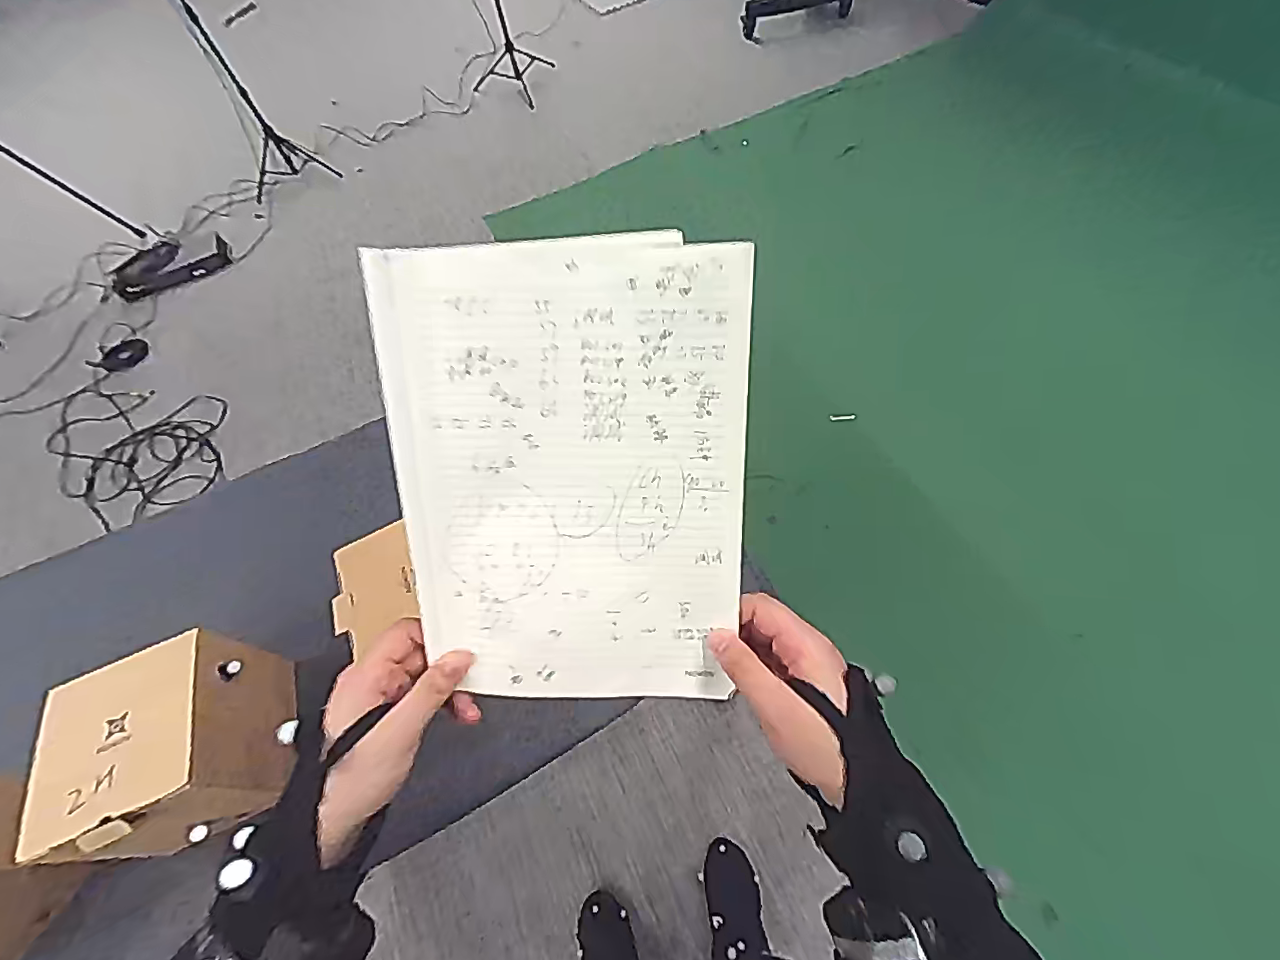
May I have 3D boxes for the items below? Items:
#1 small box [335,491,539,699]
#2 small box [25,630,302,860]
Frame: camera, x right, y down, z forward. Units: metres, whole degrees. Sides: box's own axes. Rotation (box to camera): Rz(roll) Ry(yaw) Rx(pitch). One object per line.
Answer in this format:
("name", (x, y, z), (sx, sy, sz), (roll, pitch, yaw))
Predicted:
("small box", (-0.243, 0.150, 0.684), (0.179, 0.176, 0.168), (-28, 58, -8))
("small box", (-0.529, 0.307, 0.630), (0.168, 0.176, 0.179), (-24, 58, -6))
